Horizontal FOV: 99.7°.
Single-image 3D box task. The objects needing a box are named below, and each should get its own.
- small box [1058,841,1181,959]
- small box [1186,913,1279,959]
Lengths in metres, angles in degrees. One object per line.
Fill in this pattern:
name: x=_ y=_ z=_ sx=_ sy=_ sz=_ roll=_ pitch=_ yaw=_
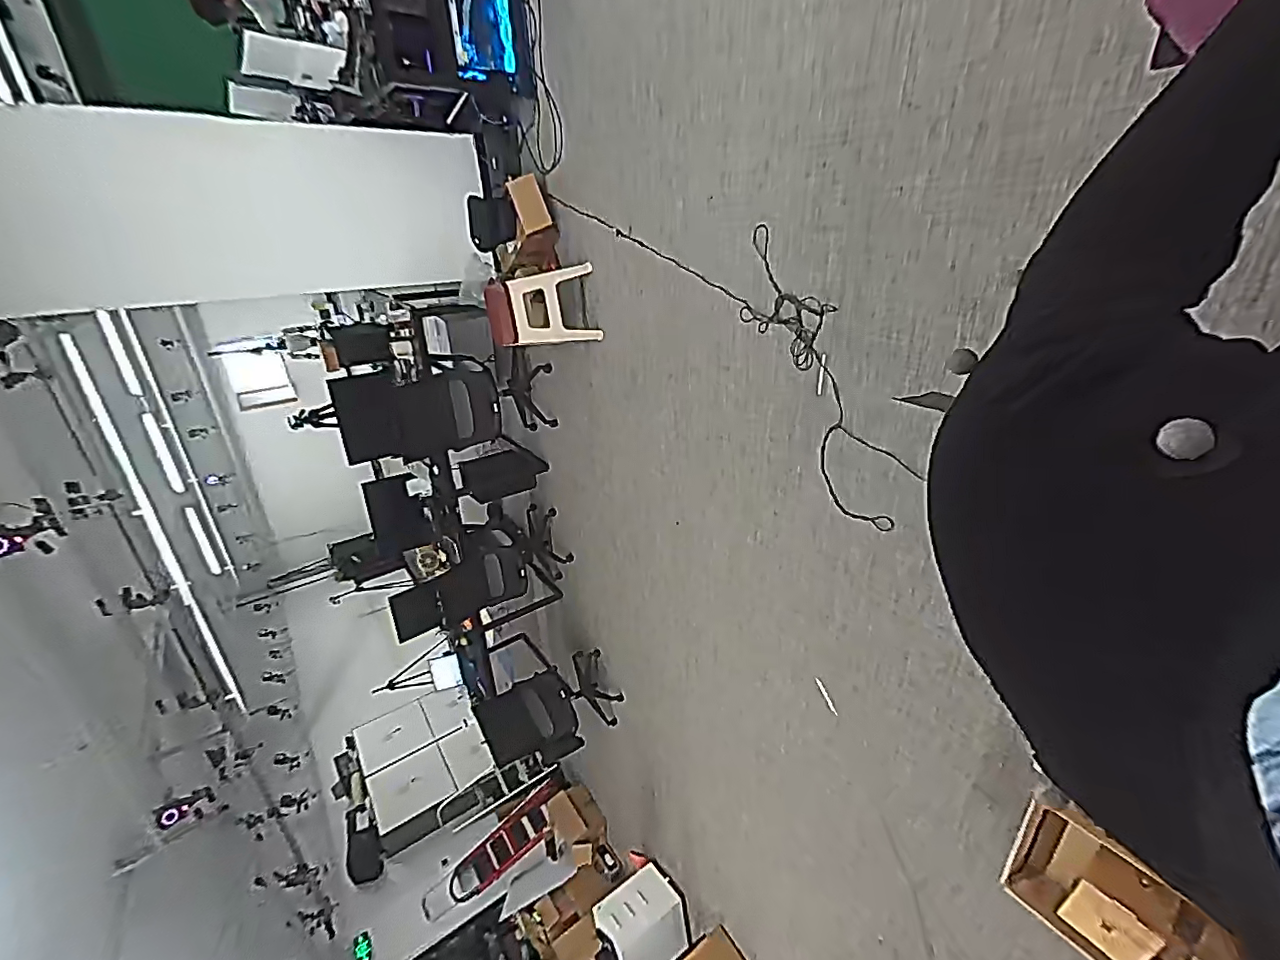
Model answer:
small box: x=1.216 y=1.075 z=1.371 sx=0.168 sy=0.176 sz=0.179 roll=34 pitch=133 yaw=44
small box: x=1.339 y=1.127 z=1.199 sx=0.168 sy=0.176 sz=0.179 roll=28 pitch=129 yaw=51
